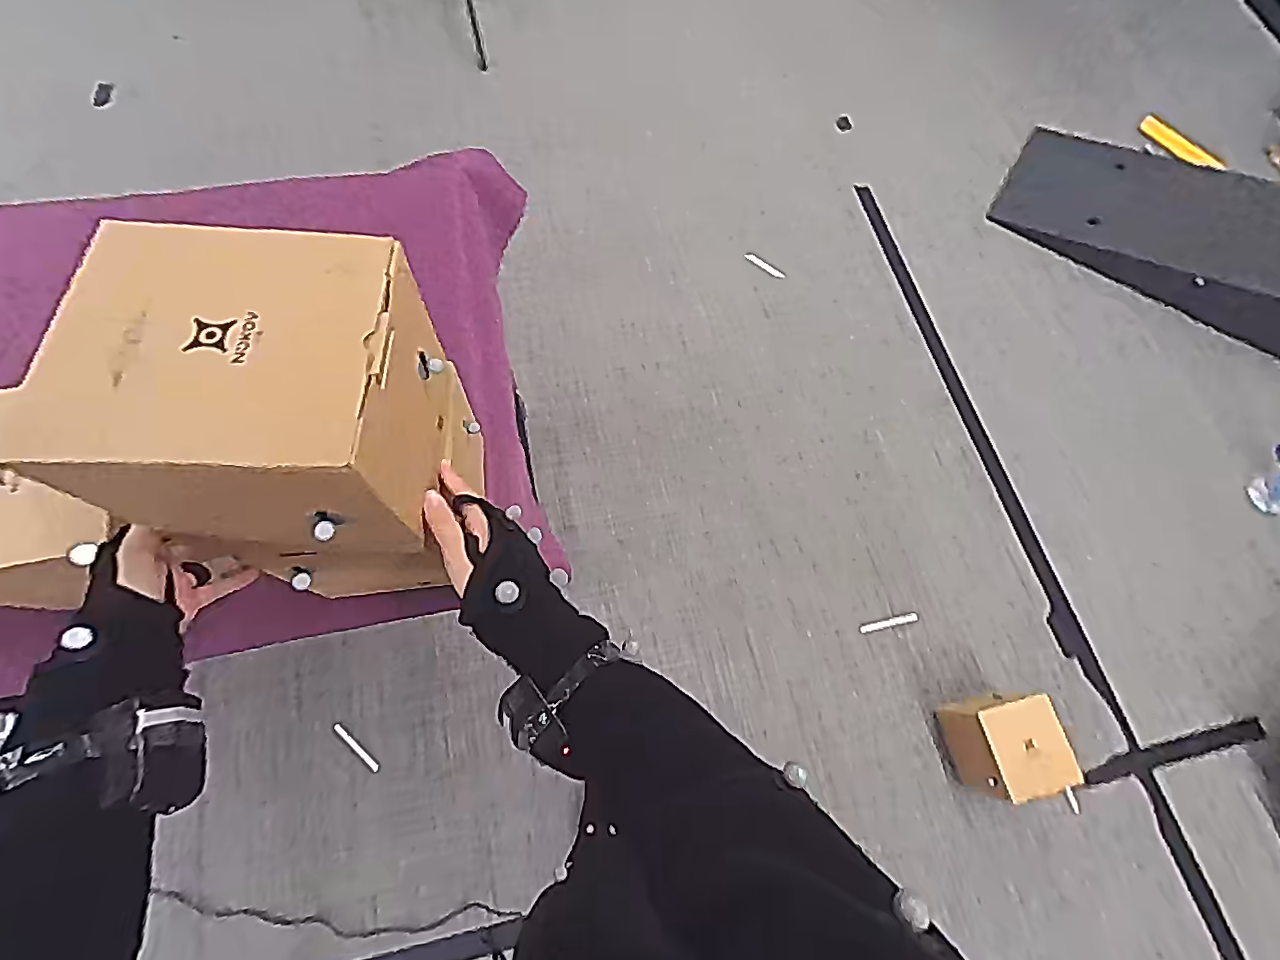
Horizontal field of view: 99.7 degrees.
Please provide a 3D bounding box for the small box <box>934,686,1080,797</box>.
[{"bbox_3d":[0.786,0.558,1.181,0.168,0.176,0.179,-13,73,-7],"label":"small box"}]

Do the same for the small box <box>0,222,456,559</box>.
[{"bbox_3d":[-0.237,-0.046,0.375,0.179,0.176,0.168,1,67,-6],"label":"small box"}]

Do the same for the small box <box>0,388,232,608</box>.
[{"bbox_3d":[-0.525,0.023,0.521,0.179,0.176,0.168,-10,73,-6],"label":"small box"}]
